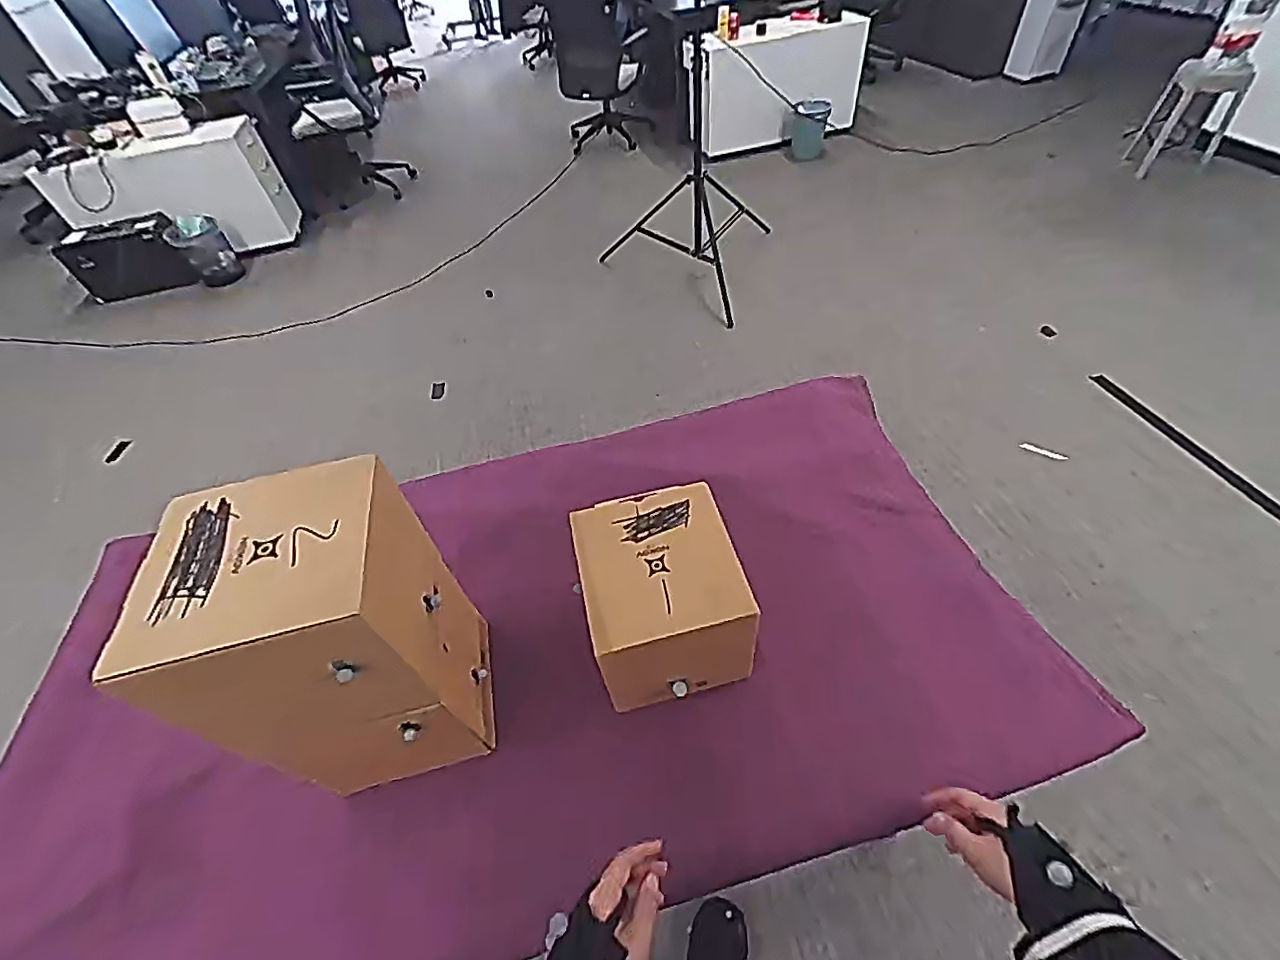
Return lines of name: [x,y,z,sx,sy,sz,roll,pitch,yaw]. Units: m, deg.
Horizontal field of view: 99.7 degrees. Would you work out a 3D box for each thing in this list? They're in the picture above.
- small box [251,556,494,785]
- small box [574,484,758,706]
small box: [-0.276,0.215,0.602,0.179,0.176,0.168,-14,49,-6]
small box: [0.026,0.135,0.633,0.168,0.176,0.179,-13,49,-4]
